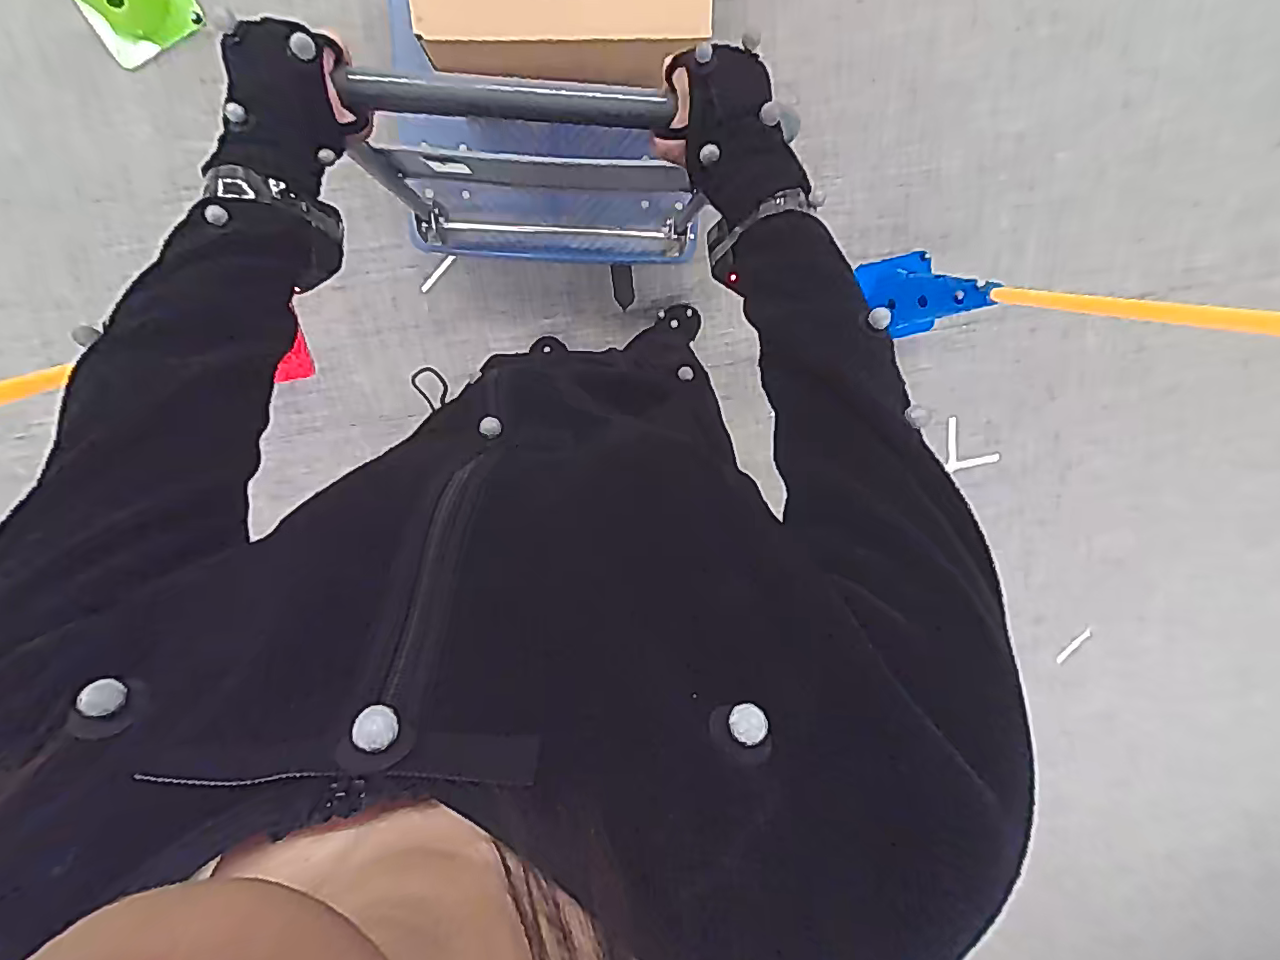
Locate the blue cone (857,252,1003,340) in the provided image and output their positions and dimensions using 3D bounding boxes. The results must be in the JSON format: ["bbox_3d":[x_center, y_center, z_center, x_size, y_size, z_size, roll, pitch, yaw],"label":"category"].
[{"bbox_3d":[0.667,-0.417,1.215,0.193,0.380,0.192,-13,107,-2],"label":"blue cone"}]
